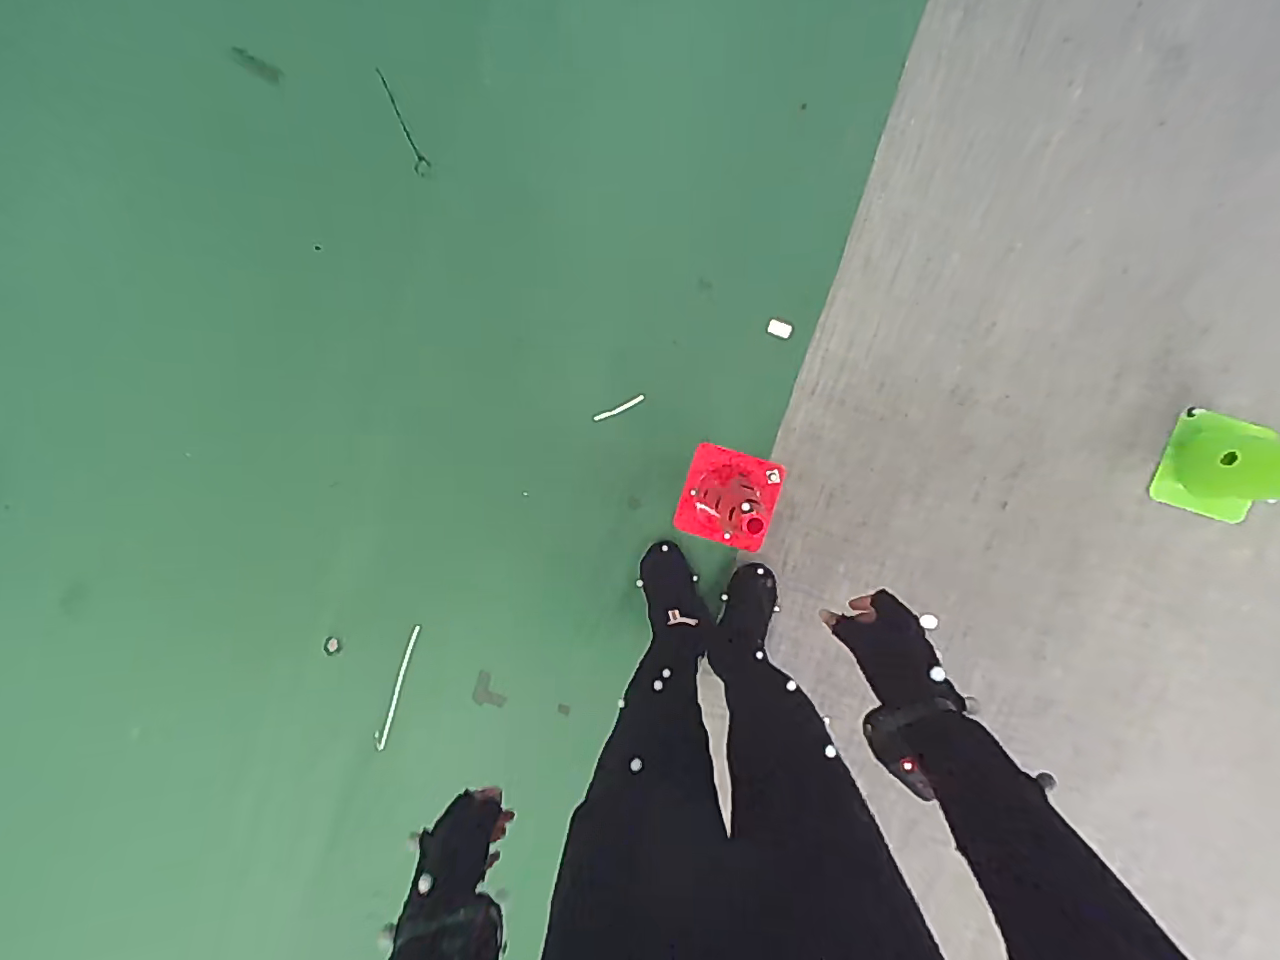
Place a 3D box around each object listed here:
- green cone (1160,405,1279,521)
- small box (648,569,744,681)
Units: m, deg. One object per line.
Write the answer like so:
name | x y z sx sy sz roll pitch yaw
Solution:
green cone | 1.160 -0.014 0.916 0.202 0.368 0.200 16 97 1
small box | 0.111 0.305 1.154 0.168 0.176 0.179 4 98 -7
